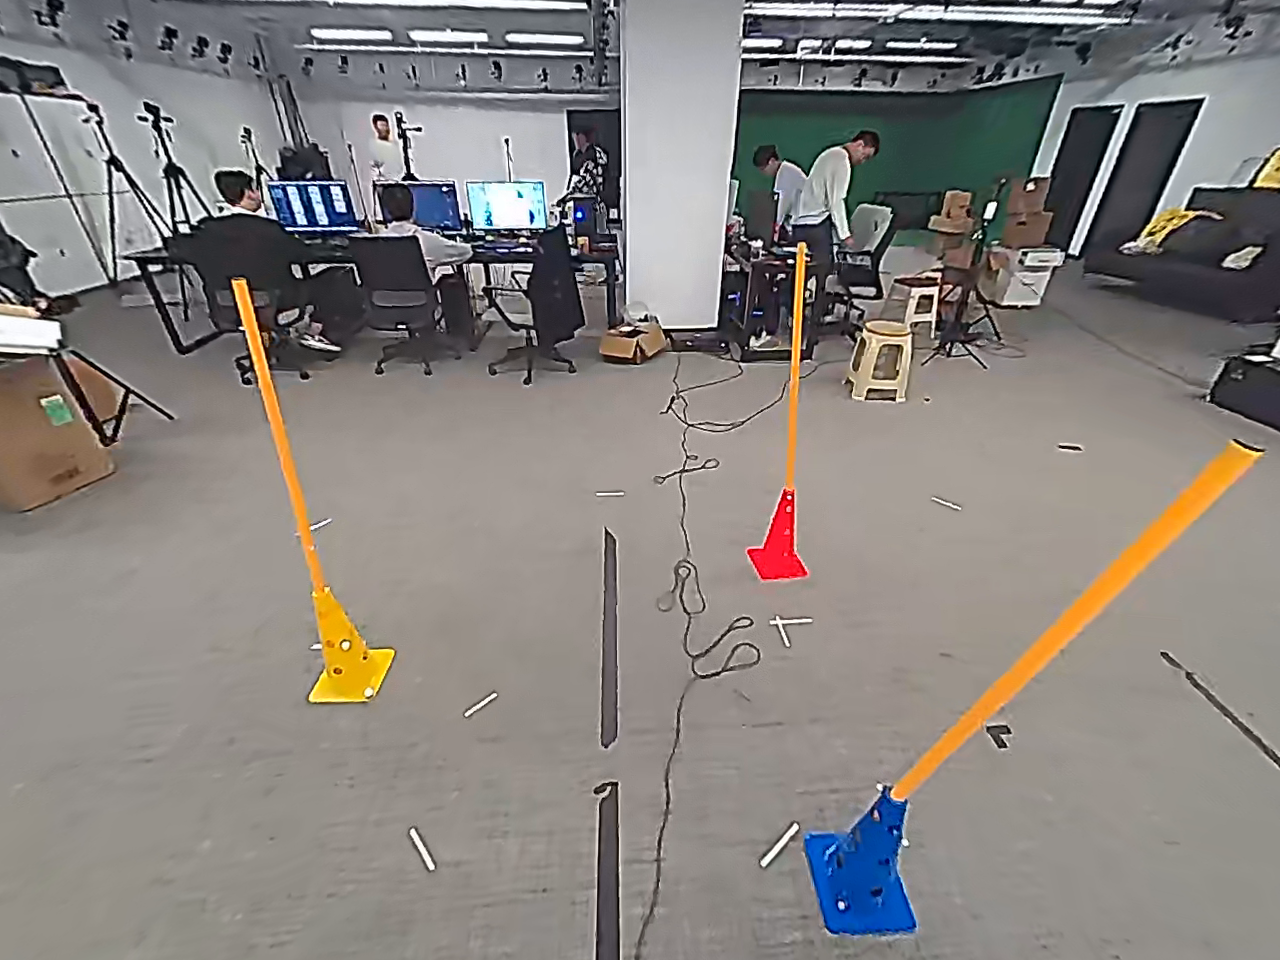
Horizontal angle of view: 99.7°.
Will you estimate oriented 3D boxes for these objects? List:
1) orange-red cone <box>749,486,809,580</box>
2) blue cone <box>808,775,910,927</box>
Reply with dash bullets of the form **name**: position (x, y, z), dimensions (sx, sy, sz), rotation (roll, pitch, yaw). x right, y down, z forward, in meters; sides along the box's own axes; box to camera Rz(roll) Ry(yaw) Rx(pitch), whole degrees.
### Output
- **orange-red cone**: position (0.557, 0.186, 2.098), dimensions (0.199, 0.360, 0.198), rotation (-5, 31, -6)
- **blue cone**: position (0.498, 0.767, 1.153), dimensions (0.193, 0.380, 0.192), rotation (0, 30, 0)
